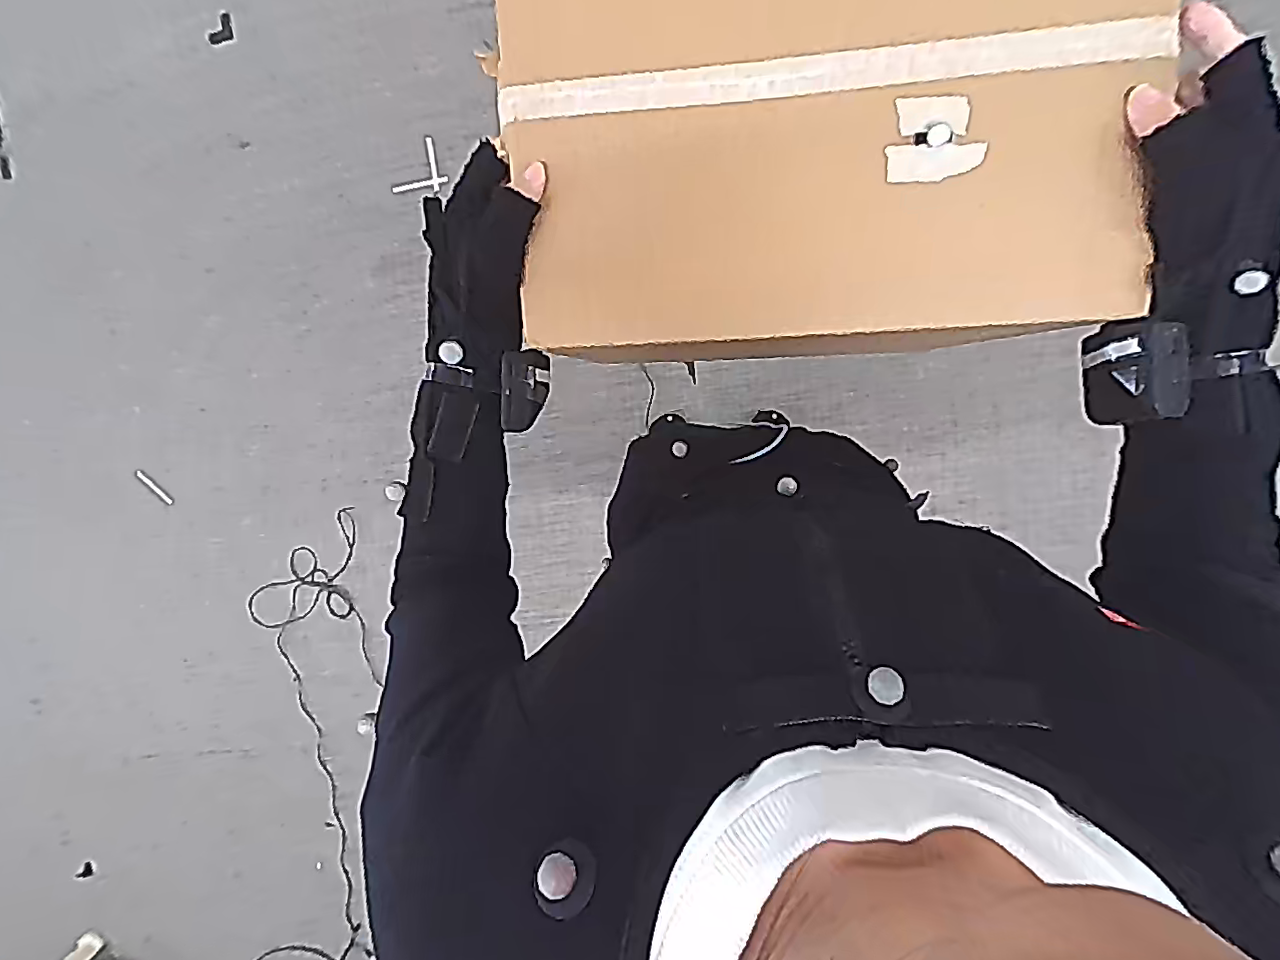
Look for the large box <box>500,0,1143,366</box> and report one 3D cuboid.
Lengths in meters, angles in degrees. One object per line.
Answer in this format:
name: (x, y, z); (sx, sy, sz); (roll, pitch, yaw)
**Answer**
large box: (0.119, -0.282, 0.498); (0.408, 0.320, 0.320); (-2, 100, 5)
